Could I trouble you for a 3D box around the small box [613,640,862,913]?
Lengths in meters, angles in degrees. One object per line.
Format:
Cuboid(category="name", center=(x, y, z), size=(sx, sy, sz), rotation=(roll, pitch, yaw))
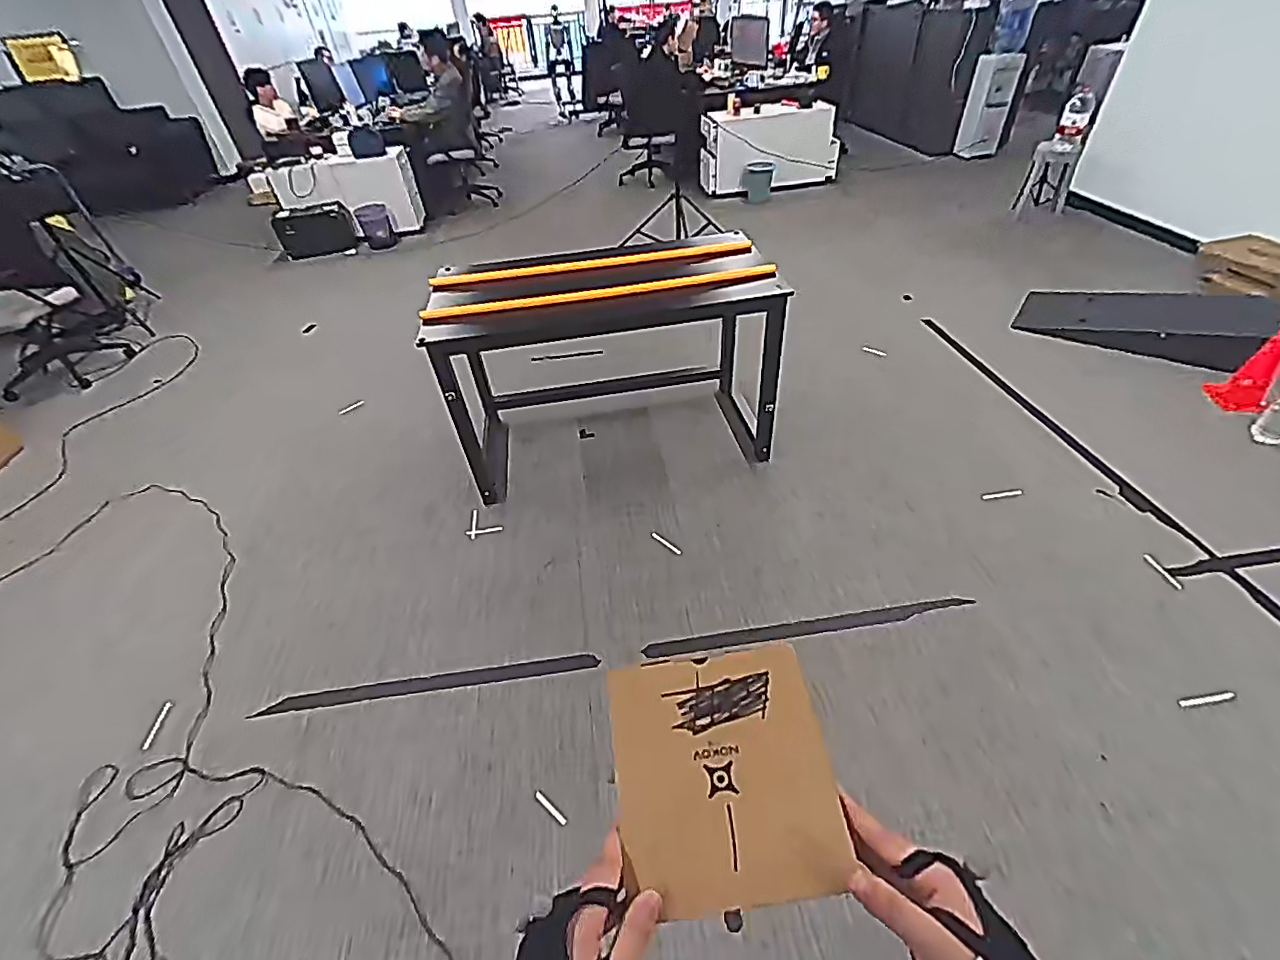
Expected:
Cuboid(category="small box", center=(0.071, 0.267, 0.485), size=(0.168, 0.176, 0.179), rotation=(-9, 53, 0))
